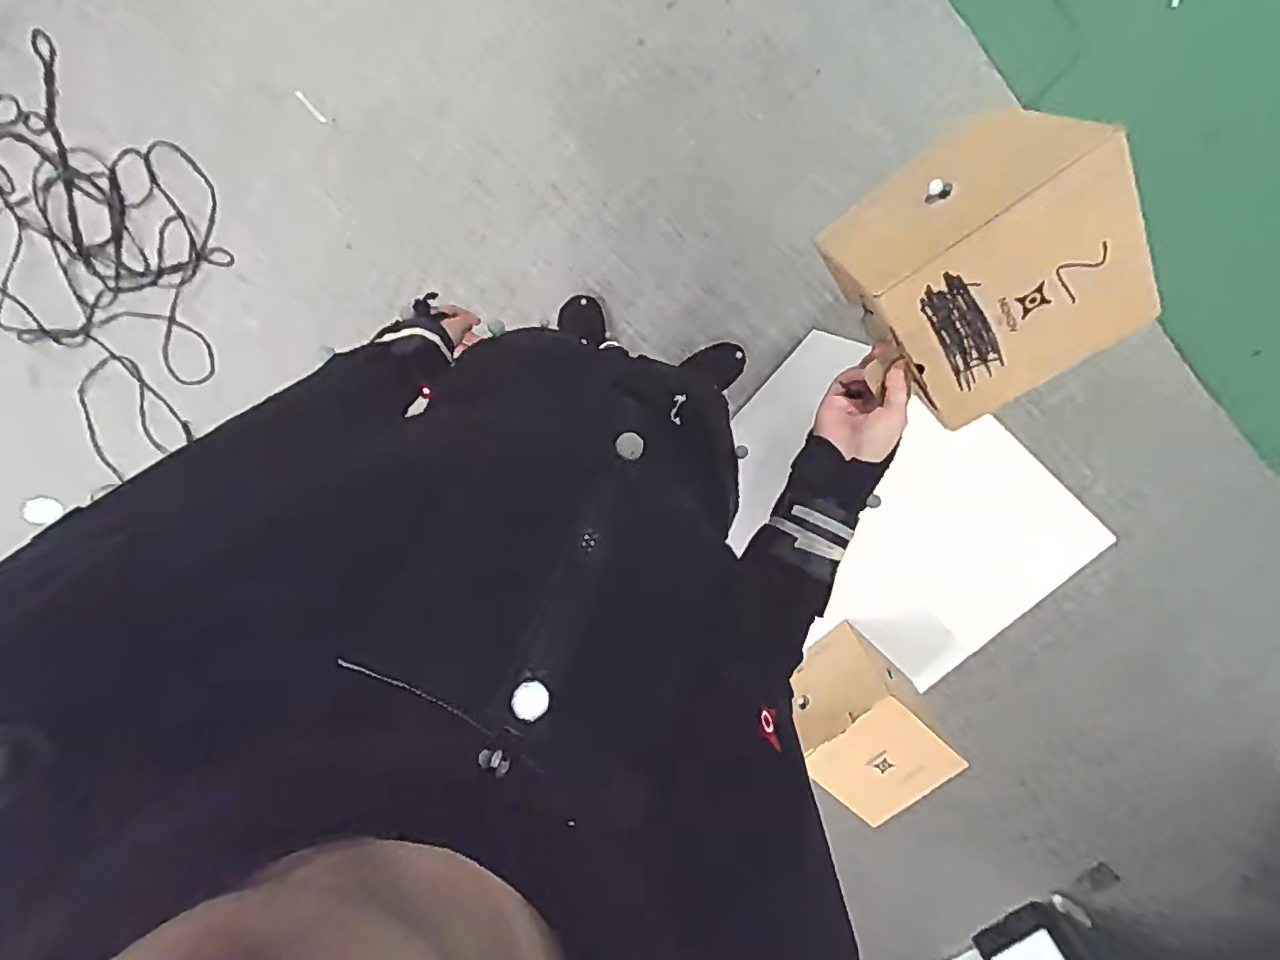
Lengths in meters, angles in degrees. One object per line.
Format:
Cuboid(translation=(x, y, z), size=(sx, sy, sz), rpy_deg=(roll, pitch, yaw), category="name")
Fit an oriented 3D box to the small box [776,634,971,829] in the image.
Cuboid(translation=(0.328, 0.357, 0.800), size=(0.179, 0.176, 0.168), rpy_deg=(41, 105, -14), category="small box")
